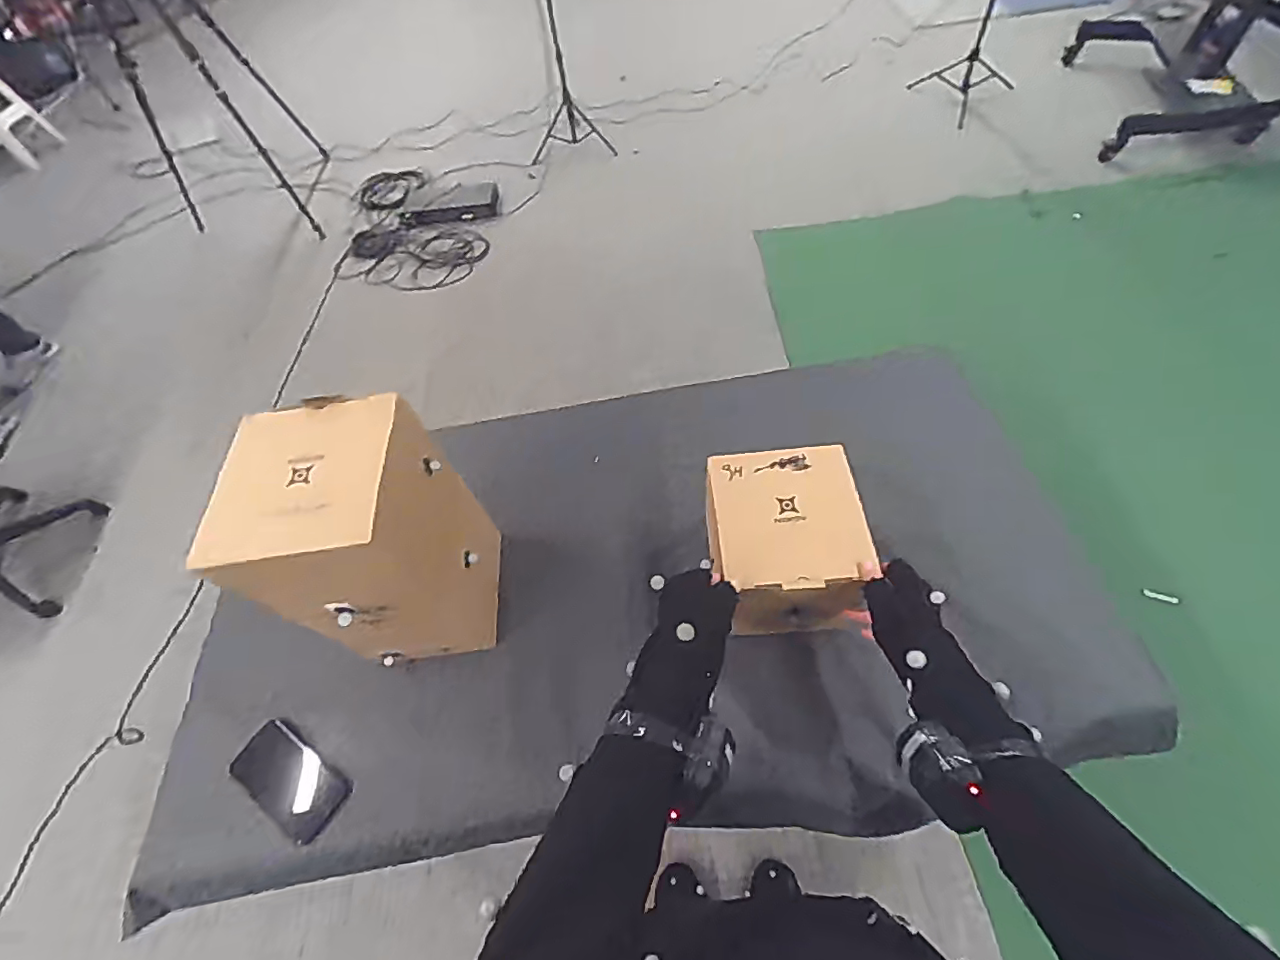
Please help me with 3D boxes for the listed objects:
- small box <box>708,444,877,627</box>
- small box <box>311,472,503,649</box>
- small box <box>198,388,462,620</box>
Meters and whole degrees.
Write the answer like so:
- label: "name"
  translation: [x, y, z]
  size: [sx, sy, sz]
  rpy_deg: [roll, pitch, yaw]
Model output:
- label: "small box"
  translation: [0.176, 0.079, 0.681]
  size: [0.168, 0.176, 0.179]
  rpy_deg: [-5, 57, 4]
- label: "small box"
  translation: [-0.288, 0.114, 0.715]
  size: [0.168, 0.176, 0.179]
  rpy_deg: [-7, 56, 2]
- label: "small box"
  translation: [-0.302, 0.031, 0.576]
  size: [0.168, 0.176, 0.179]
  rpy_deg: [-9, 58, 2]
